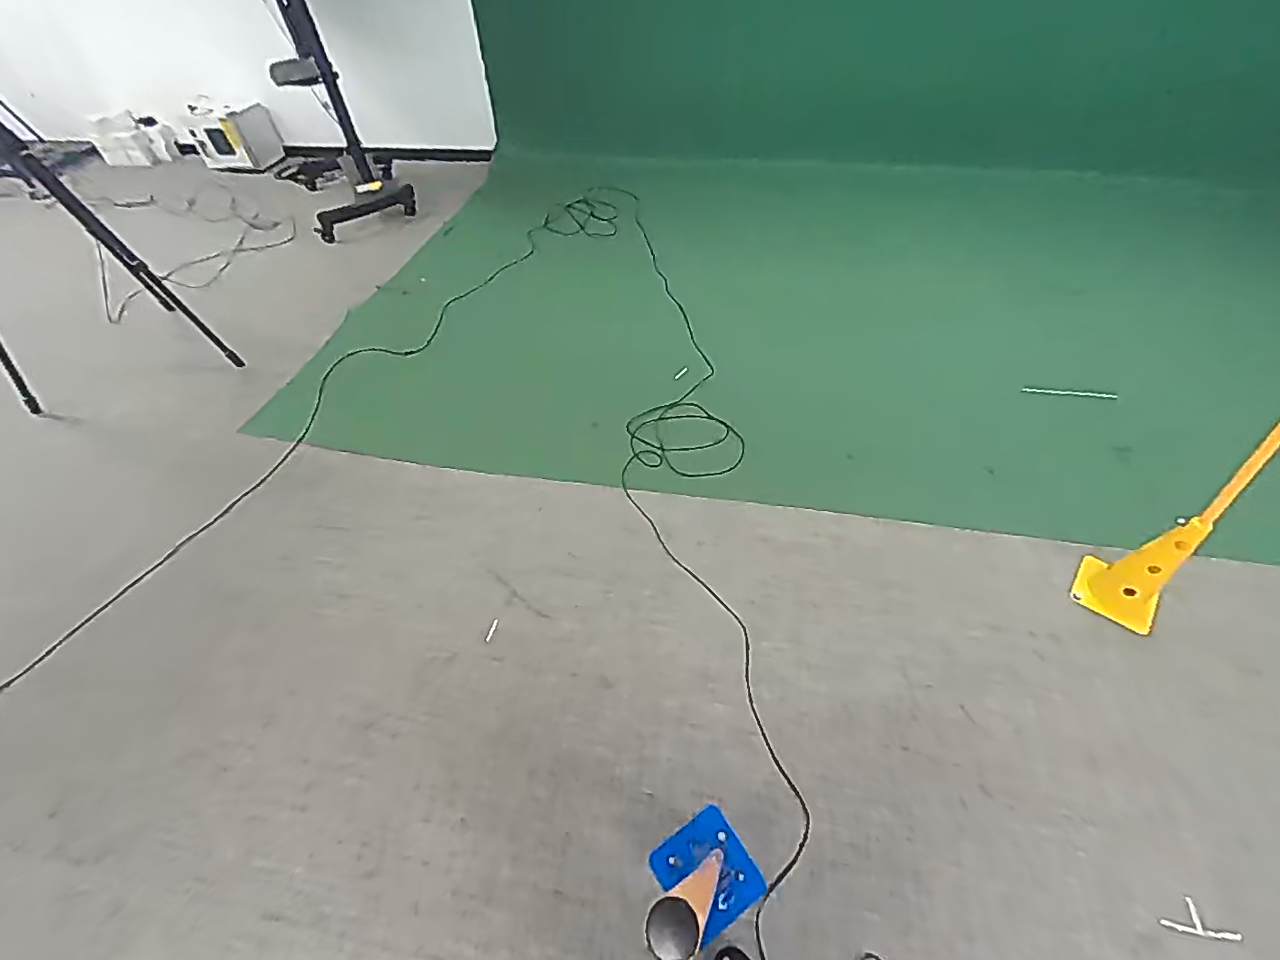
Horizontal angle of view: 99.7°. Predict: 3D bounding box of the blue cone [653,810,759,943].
[{"bbox_3d":[0.138,0.766,1.064,0.193,0.380,0.192,-30,55,-19],"label":"blue cone"}]
